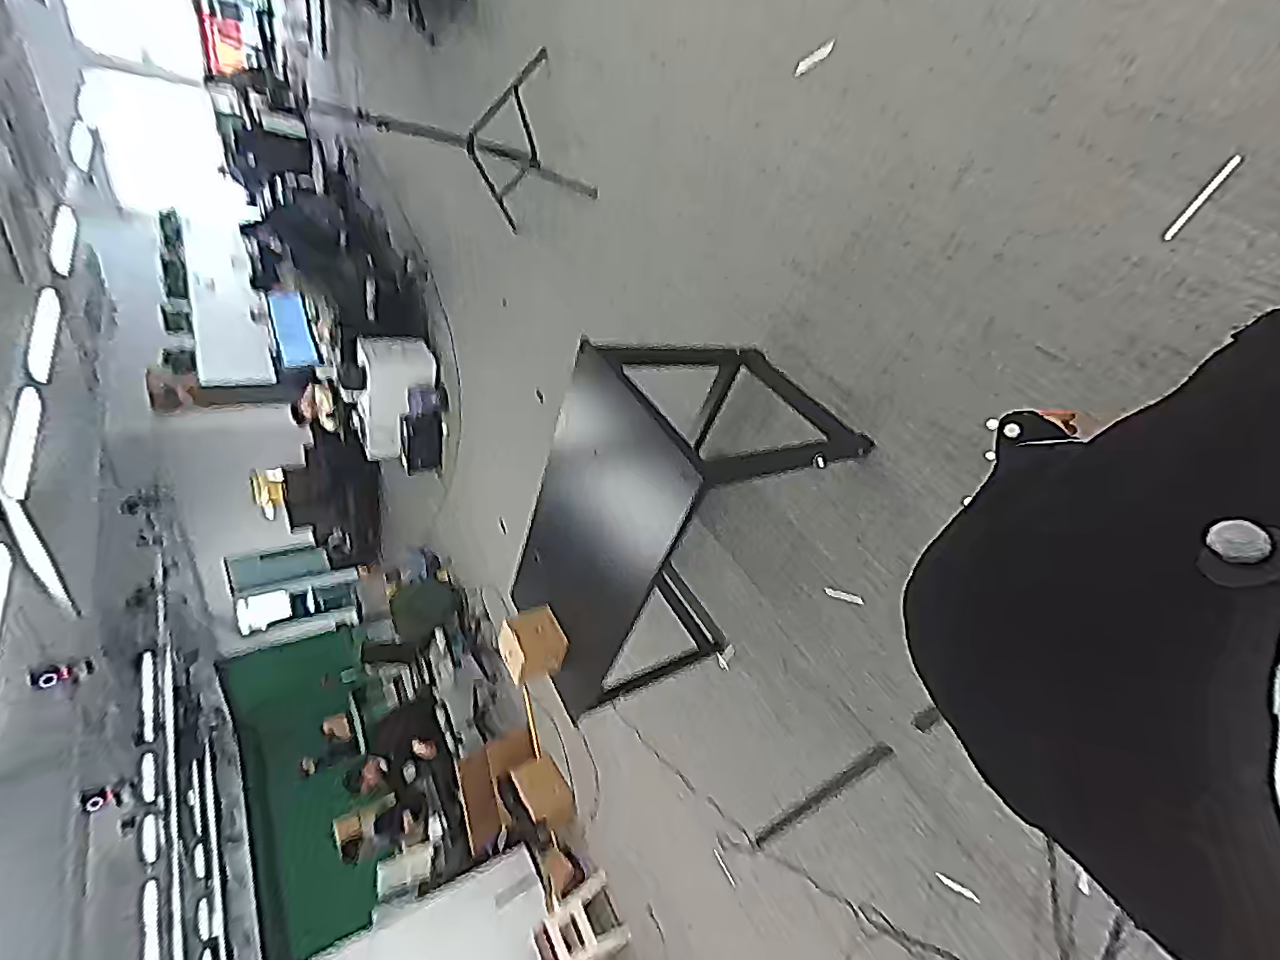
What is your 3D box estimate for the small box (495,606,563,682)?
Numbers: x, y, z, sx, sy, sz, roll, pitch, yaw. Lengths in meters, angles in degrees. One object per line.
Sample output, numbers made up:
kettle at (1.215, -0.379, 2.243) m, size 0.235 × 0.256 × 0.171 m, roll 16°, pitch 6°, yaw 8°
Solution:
small box at (-0.388, 0.569, 1.898) m, size 0.168 × 0.176 × 0.179 m, roll 51°, pitch 134°, yaw 35°
